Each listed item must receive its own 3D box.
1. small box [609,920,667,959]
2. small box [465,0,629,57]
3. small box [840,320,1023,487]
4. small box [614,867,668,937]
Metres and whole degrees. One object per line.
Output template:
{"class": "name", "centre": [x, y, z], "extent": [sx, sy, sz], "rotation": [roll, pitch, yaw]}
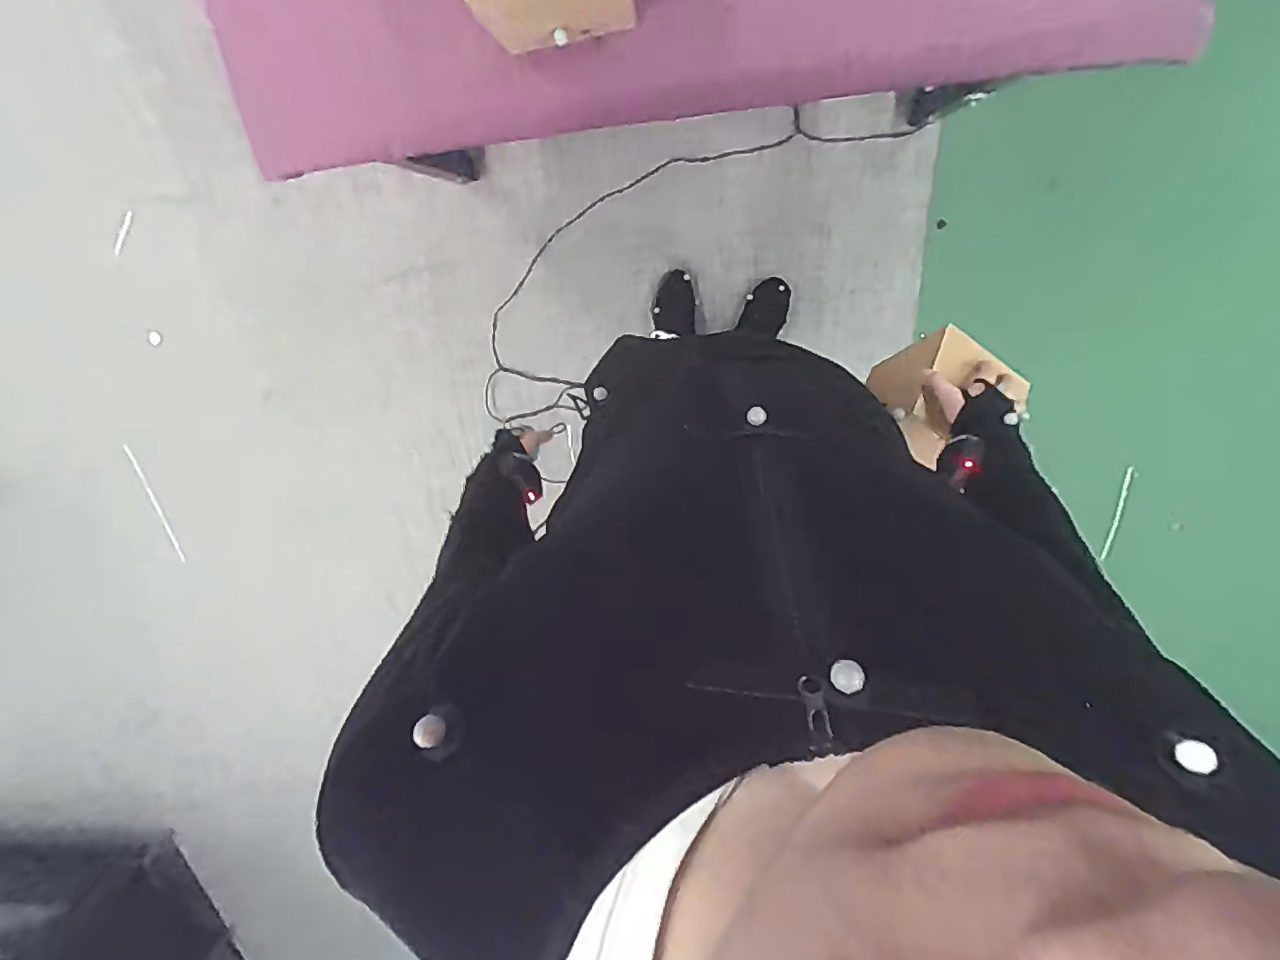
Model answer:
{"class": "small box", "centre": [-0.004, 1.472, 1.622], "extent": [0.168, 0.176, 0.179], "rotation": [0, 111, 5]}
{"class": "small box", "centre": [-0.109, -0.604, 0.586], "extent": [0.168, 0.176, 0.179], "rotation": [-6, 112, 7]}
{"class": "small box", "centre": [0.449, -0.107, 0.856], "extent": [0.168, 0.176, 0.179], "rotation": [33, 72, -8]}
{"class": "small box", "centre": [0.008, 1.415, 1.773], "extent": [0.168, 0.176, 0.179], "rotation": [0, 111, 4]}
